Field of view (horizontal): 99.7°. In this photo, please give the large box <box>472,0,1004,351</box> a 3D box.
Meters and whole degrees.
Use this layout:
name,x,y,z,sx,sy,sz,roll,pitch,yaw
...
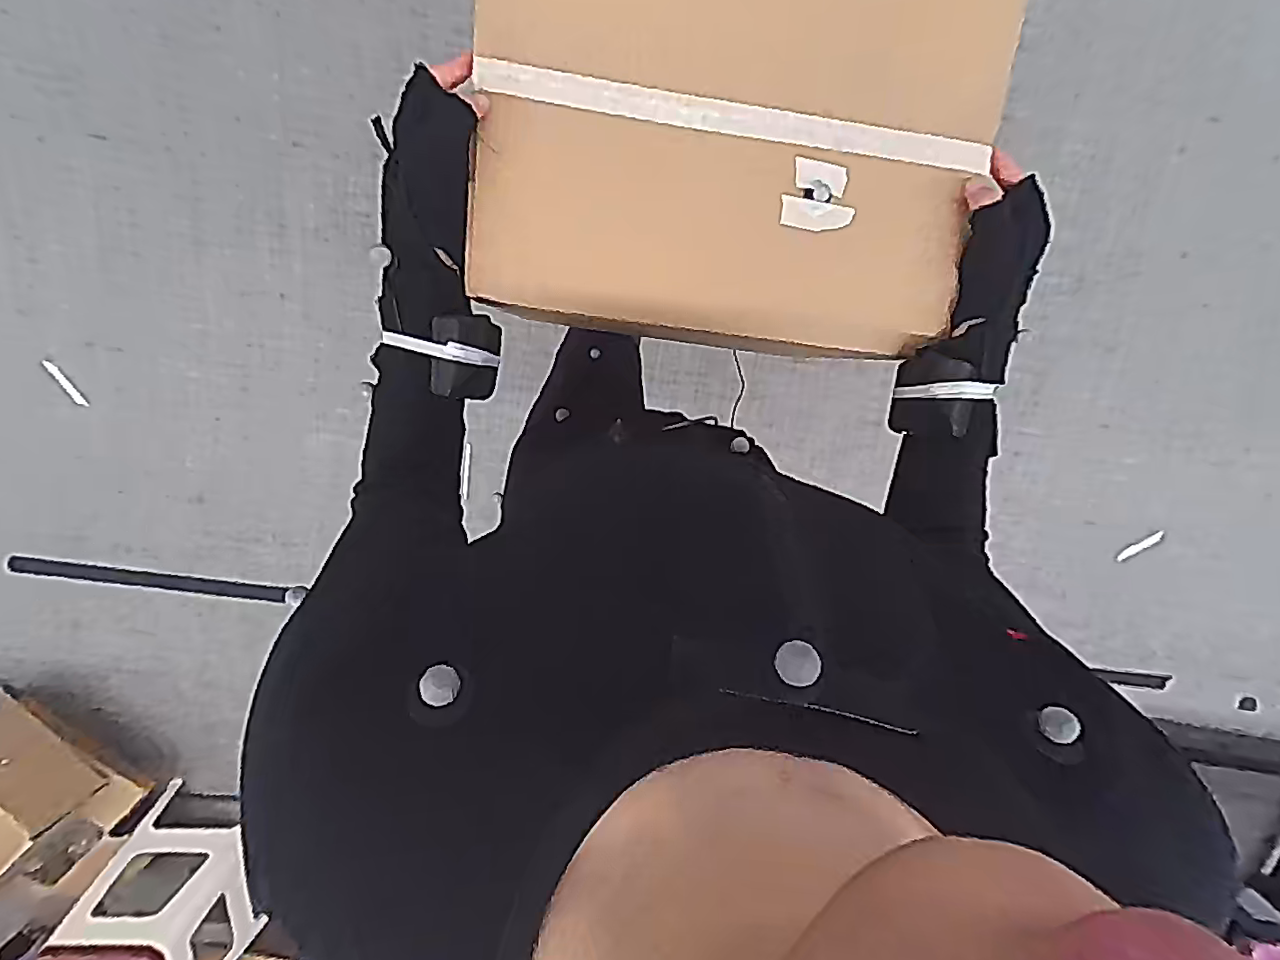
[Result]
name,x,y,z,sx,sy,sz,roll,pitch,yaw
large box,0.060,-0.315,0.570,0.408,0.320,0.320,6,104,-7
